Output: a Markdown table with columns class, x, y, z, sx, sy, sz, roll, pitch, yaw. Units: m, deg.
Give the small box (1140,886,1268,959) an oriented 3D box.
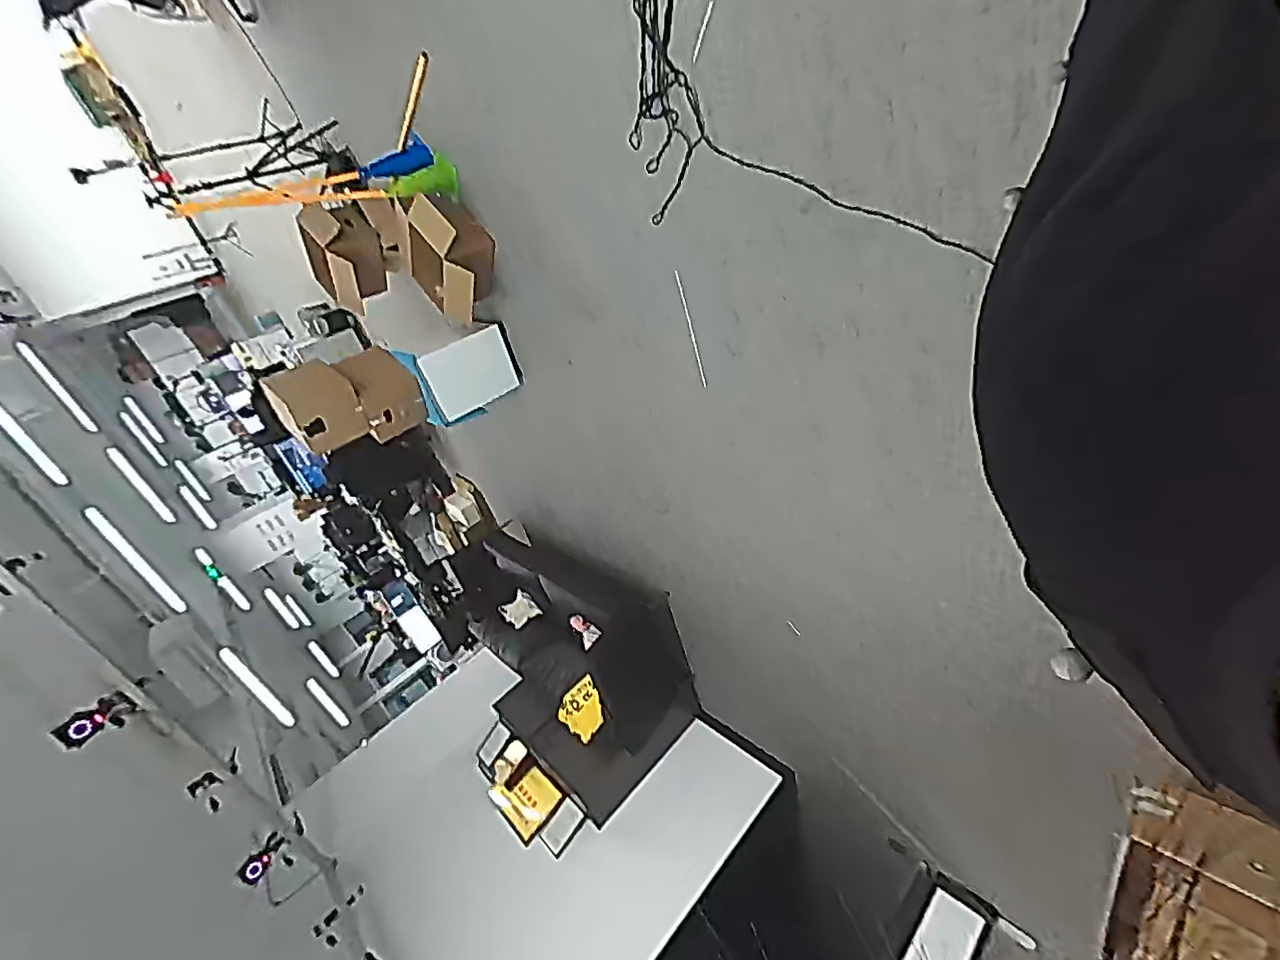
| class | x | y | z | sx | sy | sz | roll | pitch | yaw |
| --- | --- | --- | --- | --- | --- | --- | --- | --- | --- |
| small box | 1.155 | 0.999 | 1.116 | 0.168 | 0.176 | 0.179 | 13 | 130 | 48 |
